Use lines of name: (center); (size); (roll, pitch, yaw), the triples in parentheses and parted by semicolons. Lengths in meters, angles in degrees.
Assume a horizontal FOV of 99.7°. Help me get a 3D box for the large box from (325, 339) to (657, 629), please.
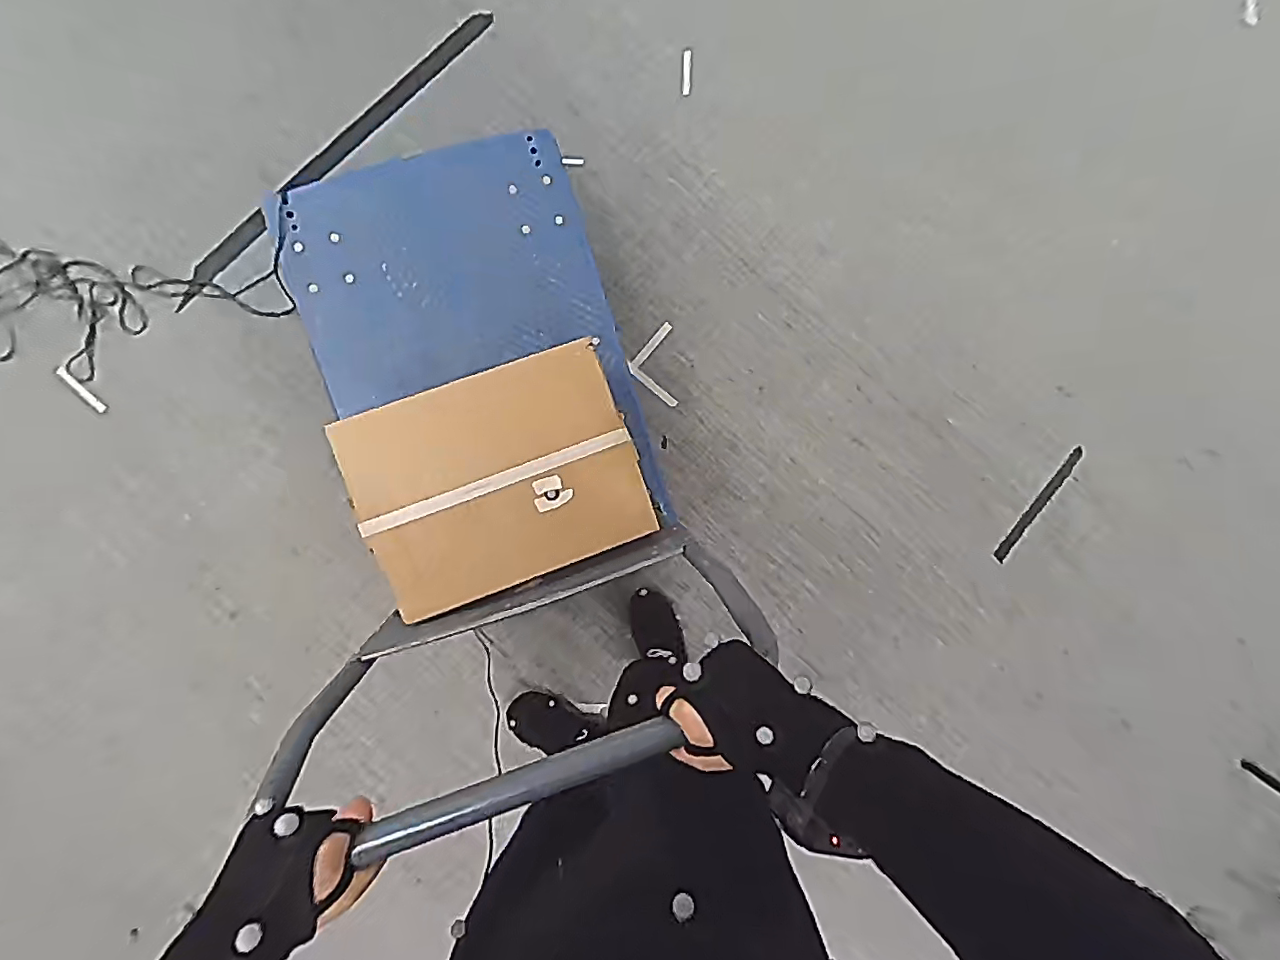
large box: (-0.227, 0.000, 0.931); (0.408, 0.320, 0.320); (-20, 95, -7)
